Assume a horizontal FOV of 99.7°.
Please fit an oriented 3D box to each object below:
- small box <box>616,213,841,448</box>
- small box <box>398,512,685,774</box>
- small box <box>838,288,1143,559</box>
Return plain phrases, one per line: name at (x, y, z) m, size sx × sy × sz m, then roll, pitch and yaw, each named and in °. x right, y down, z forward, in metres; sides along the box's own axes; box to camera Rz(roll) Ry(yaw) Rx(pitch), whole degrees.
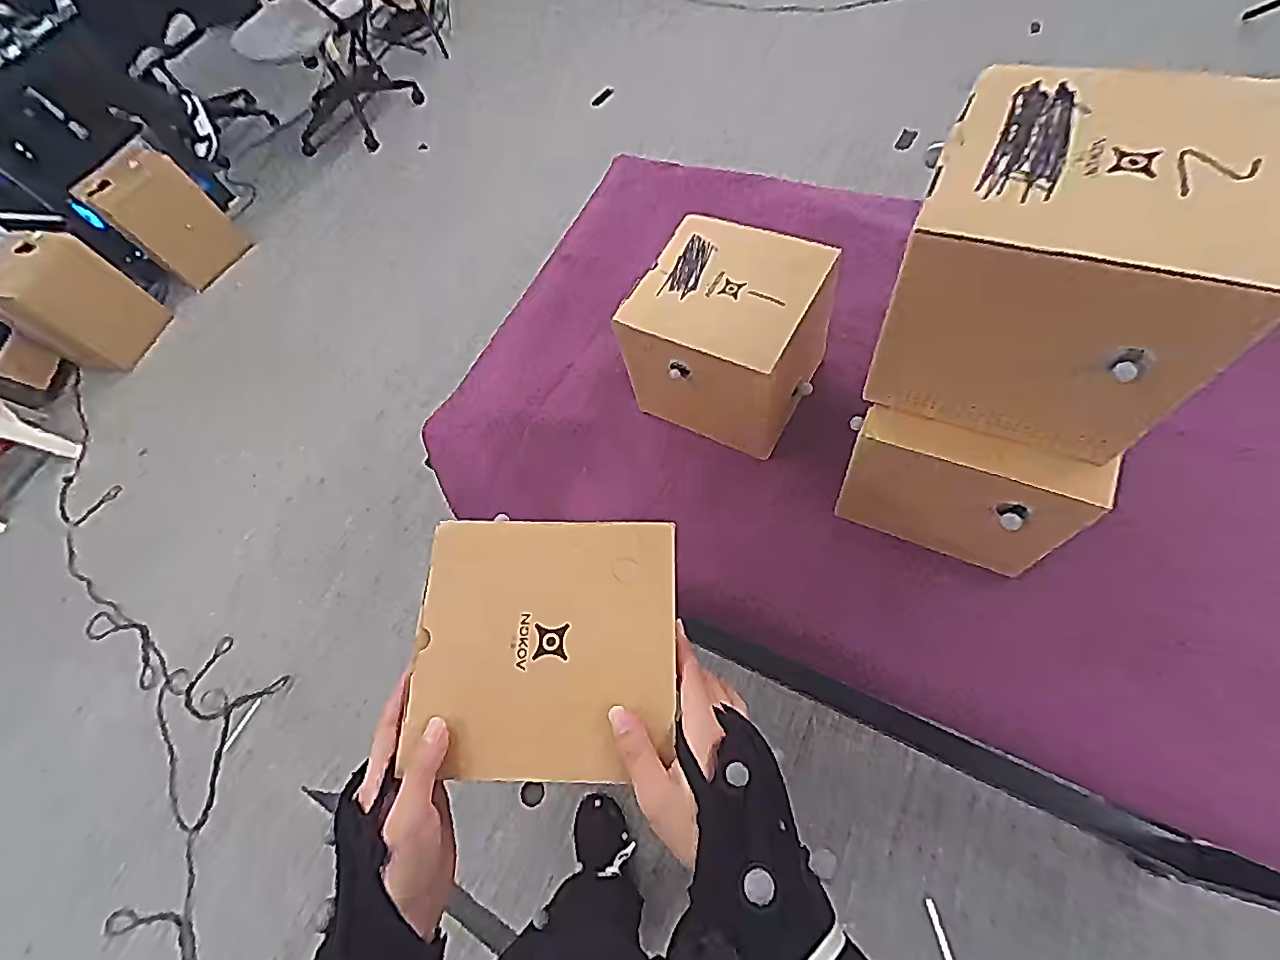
small box at (0.101, -0.161, 0.612) m, size 0.179 × 0.176 × 0.168 m, roll 25°, pitch 71°, yaw 21°
small box at (-0.056, 0.130, 0.428) m, size 0.179 × 0.176 × 0.168 m, roll -1°, pitch 66°, yaw 3°
small box at (0.306, -0.044, 0.507) m, size 0.179 × 0.176 × 0.168 m, roll 21°, pitch 68°, yaw 21°
